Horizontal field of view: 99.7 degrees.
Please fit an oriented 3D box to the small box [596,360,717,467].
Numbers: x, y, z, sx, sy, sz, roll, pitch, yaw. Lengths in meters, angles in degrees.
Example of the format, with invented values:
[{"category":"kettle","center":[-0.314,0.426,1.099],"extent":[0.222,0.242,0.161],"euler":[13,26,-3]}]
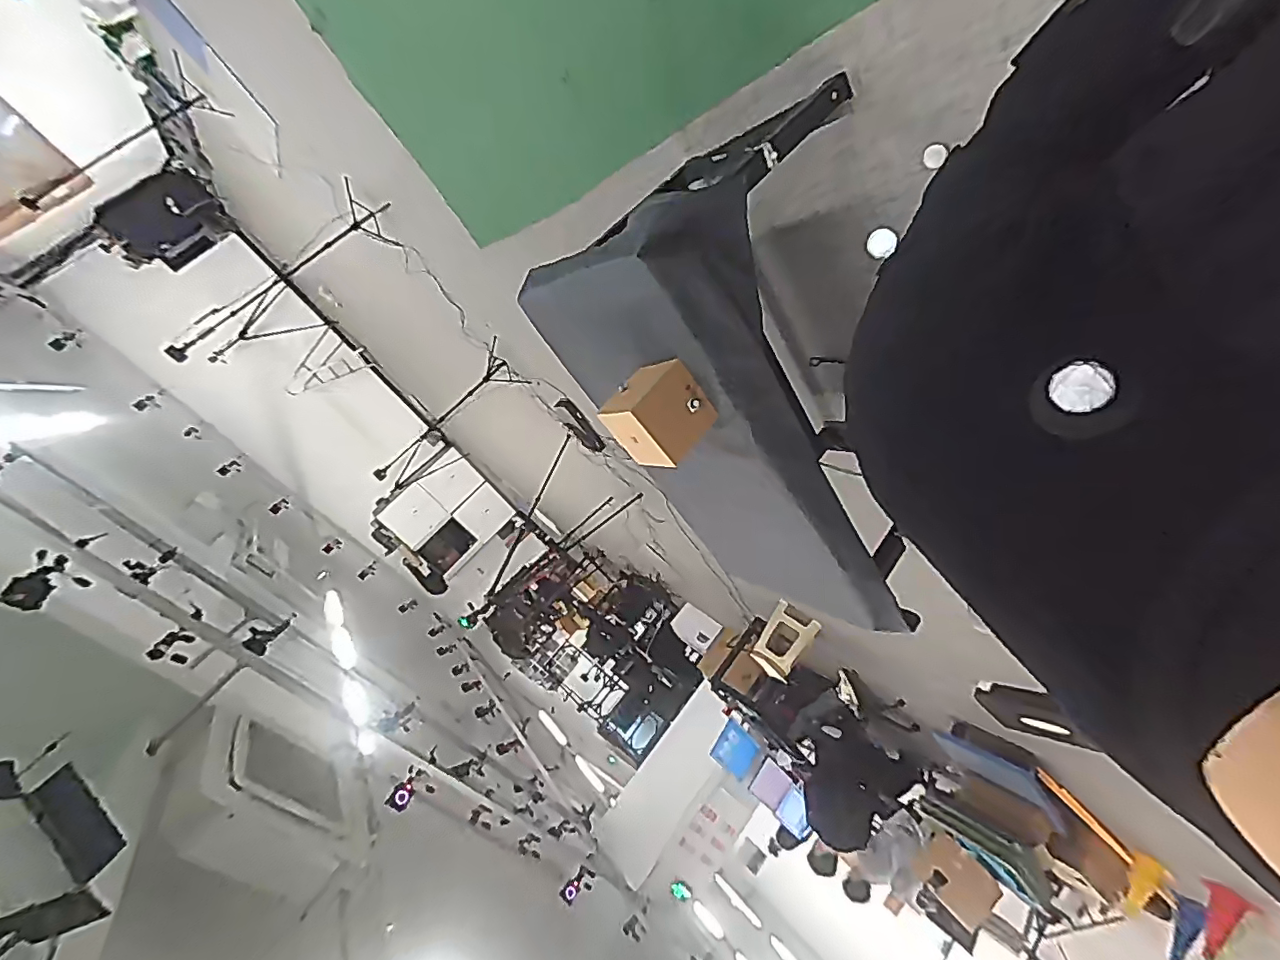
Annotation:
[{"category":"small box","center":[0.038,-0.147,1.214],"extent":[0.168,0.176,0.179],"euler":[47,161,-22]}]
